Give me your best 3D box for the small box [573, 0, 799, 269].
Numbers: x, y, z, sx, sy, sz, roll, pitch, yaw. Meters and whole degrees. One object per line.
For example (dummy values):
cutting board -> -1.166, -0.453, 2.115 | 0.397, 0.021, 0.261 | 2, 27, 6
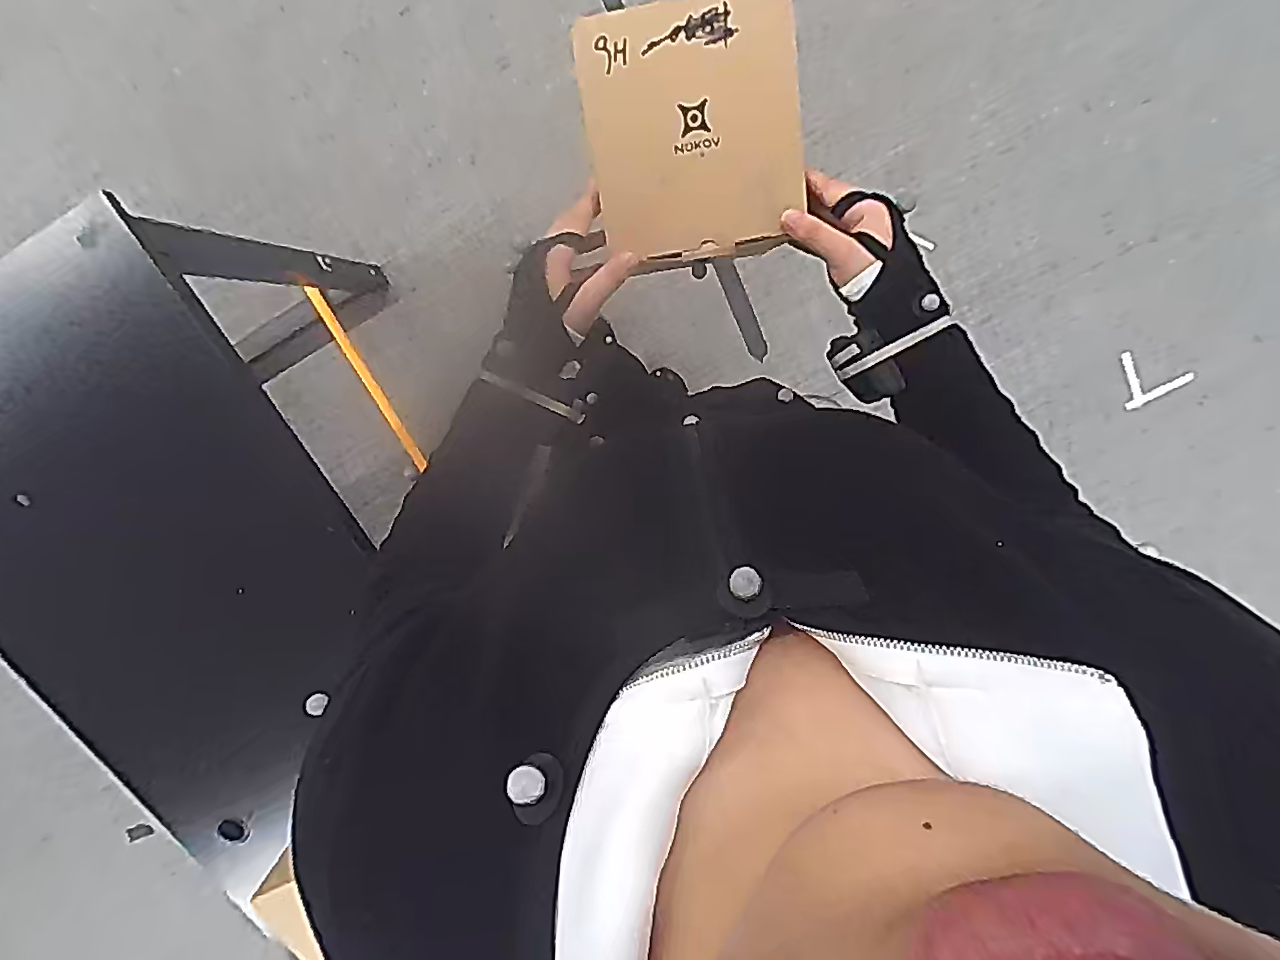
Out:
small box -> 0.043, -0.300, 0.505 | 0.168, 0.176, 0.179 | -8, 108, 4
